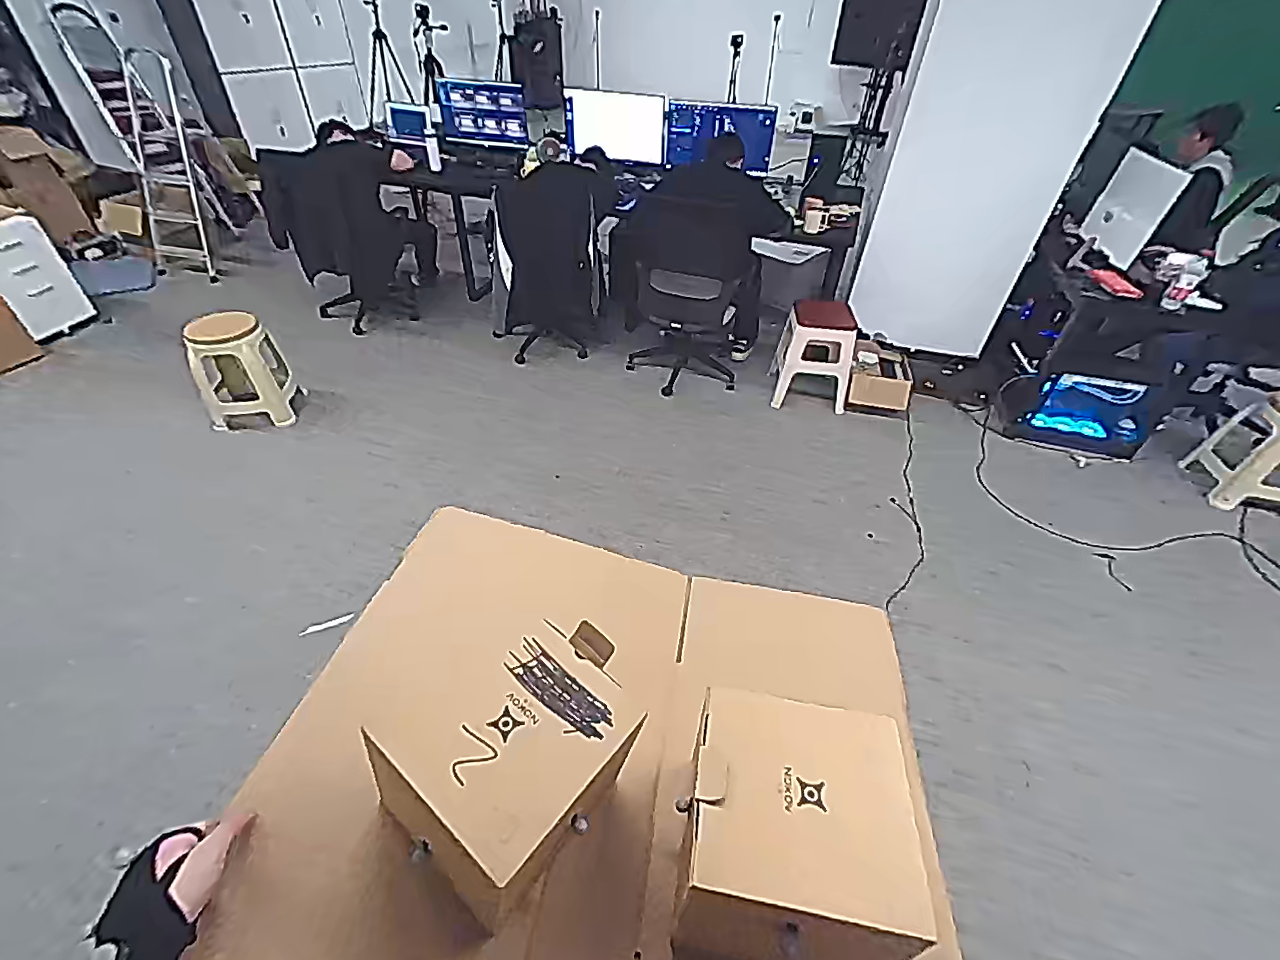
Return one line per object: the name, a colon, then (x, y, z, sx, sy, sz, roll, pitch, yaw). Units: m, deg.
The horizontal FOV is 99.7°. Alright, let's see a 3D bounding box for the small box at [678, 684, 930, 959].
small box: (0.137, 0.324, 0.510, 0.179, 0.176, 0.168, 7, 39, 7)
